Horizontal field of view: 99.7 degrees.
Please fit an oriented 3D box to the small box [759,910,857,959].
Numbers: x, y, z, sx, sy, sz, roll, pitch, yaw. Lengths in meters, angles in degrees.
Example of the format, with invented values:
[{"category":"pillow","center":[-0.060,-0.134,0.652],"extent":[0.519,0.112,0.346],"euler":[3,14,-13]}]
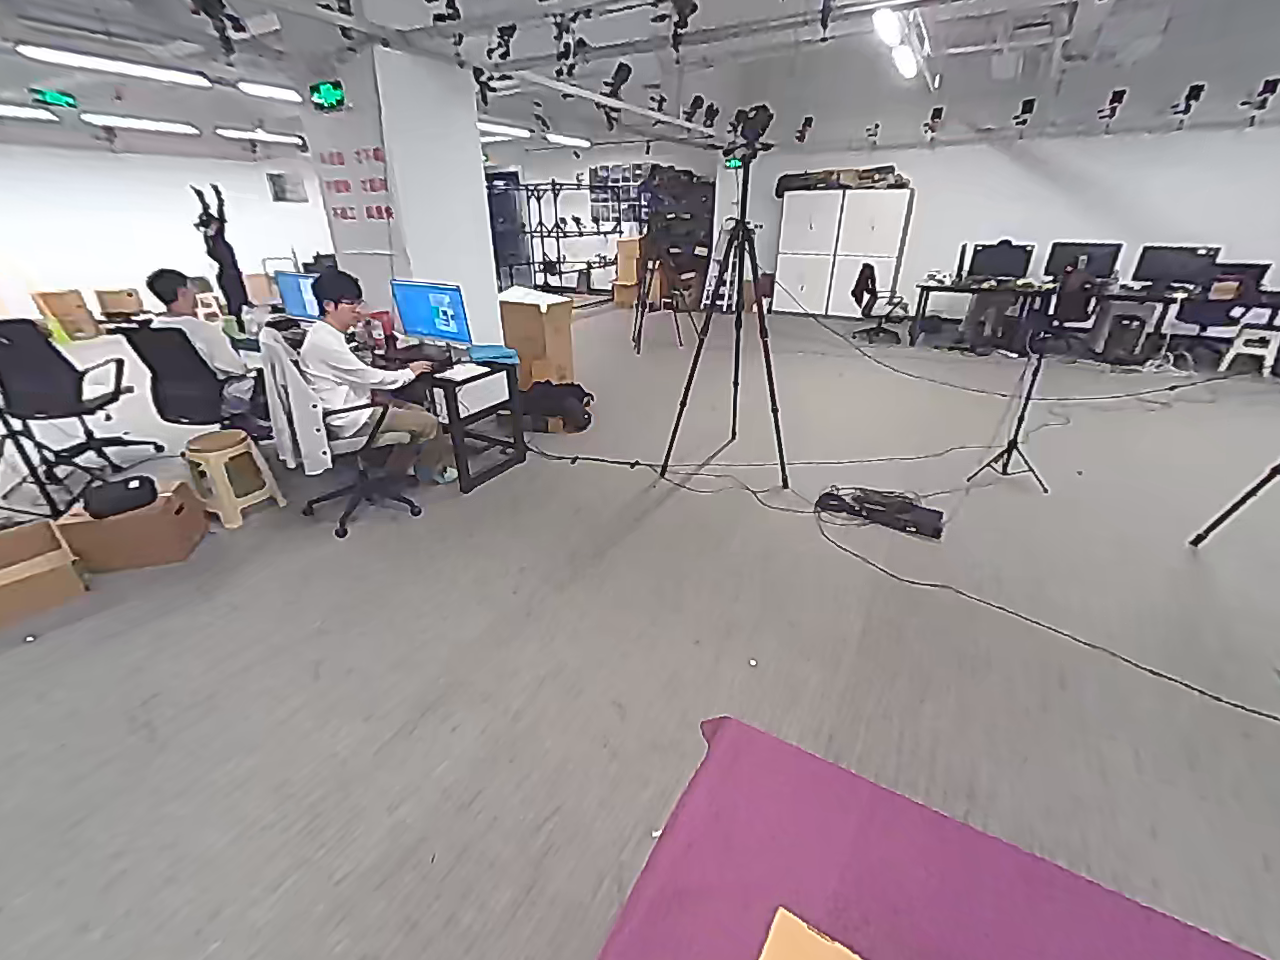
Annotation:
[{"category":"small box","center":[0.171,0.586,0.514],"extent":[0.168,0.176,0.179],"euler":[16,30,31]}]
